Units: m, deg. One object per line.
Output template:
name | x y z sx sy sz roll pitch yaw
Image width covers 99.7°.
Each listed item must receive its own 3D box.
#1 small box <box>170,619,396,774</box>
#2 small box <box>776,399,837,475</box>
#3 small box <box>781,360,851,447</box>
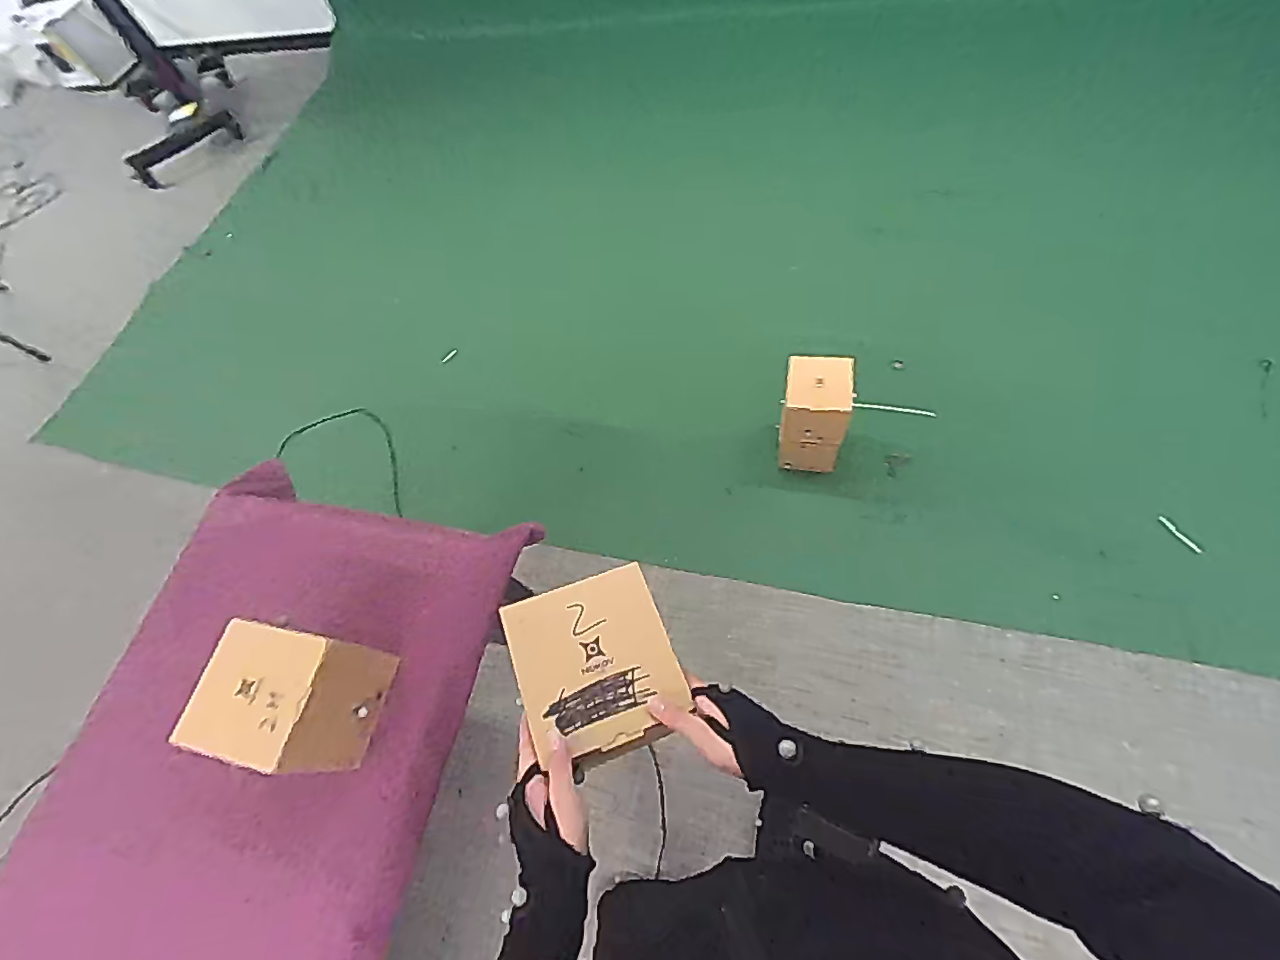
small box | -0.500 0.315 0.785 0.179 0.176 0.168 7 66 15
small box | 0.512 -0.132 1.659 0.168 0.176 0.179 6 64 13
small box | 0.491 -0.212 1.519 0.168 0.176 0.179 5 65 12
